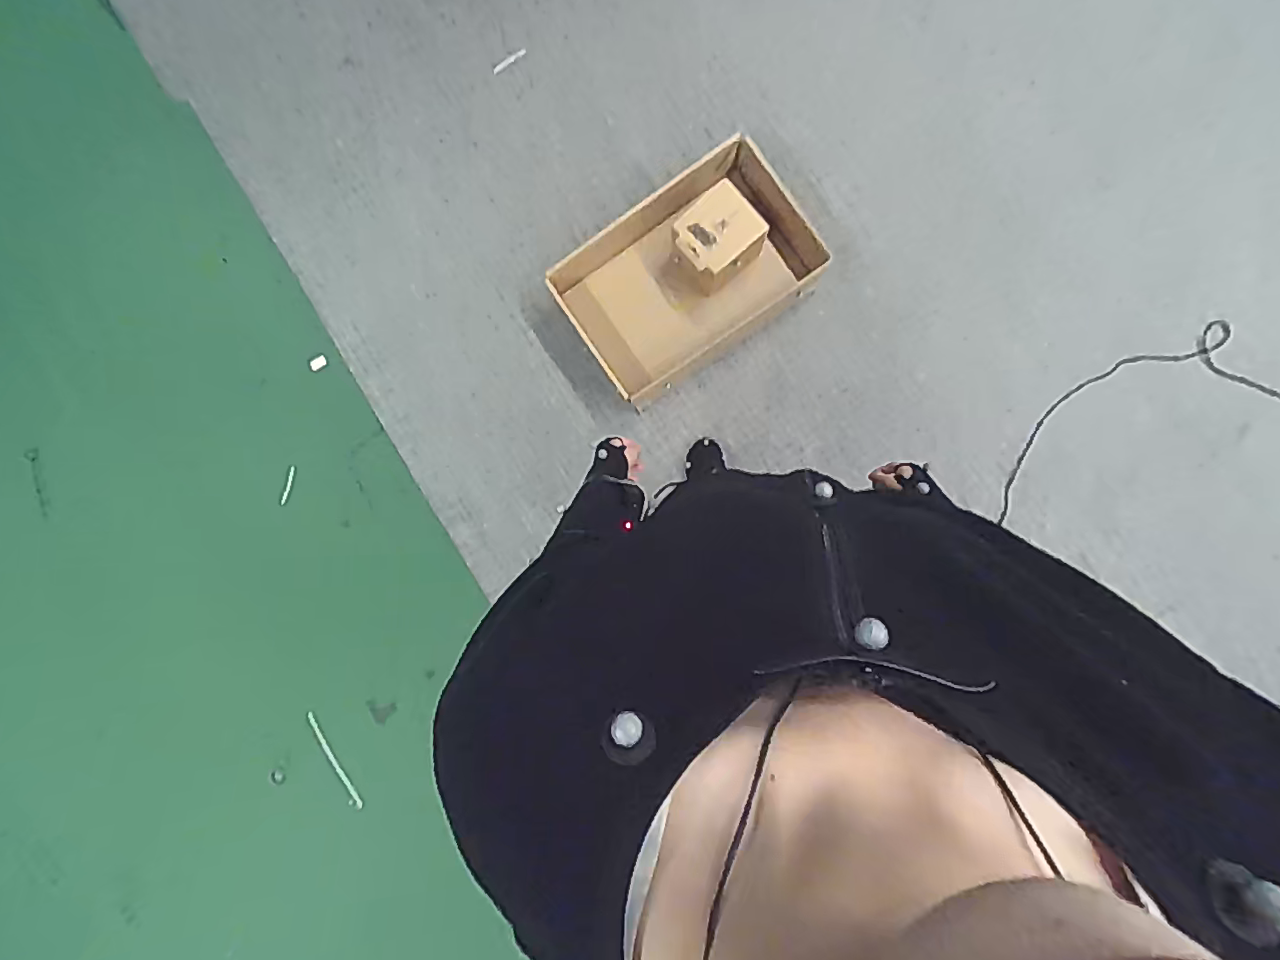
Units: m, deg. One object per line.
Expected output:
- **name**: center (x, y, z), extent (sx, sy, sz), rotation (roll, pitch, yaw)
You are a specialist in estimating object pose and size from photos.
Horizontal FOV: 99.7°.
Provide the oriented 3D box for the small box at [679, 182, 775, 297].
- **small box**: center (0.220, -0.604, 1.385), extent (0.179, 0.176, 0.168), rotation (-41, 87, 4)
